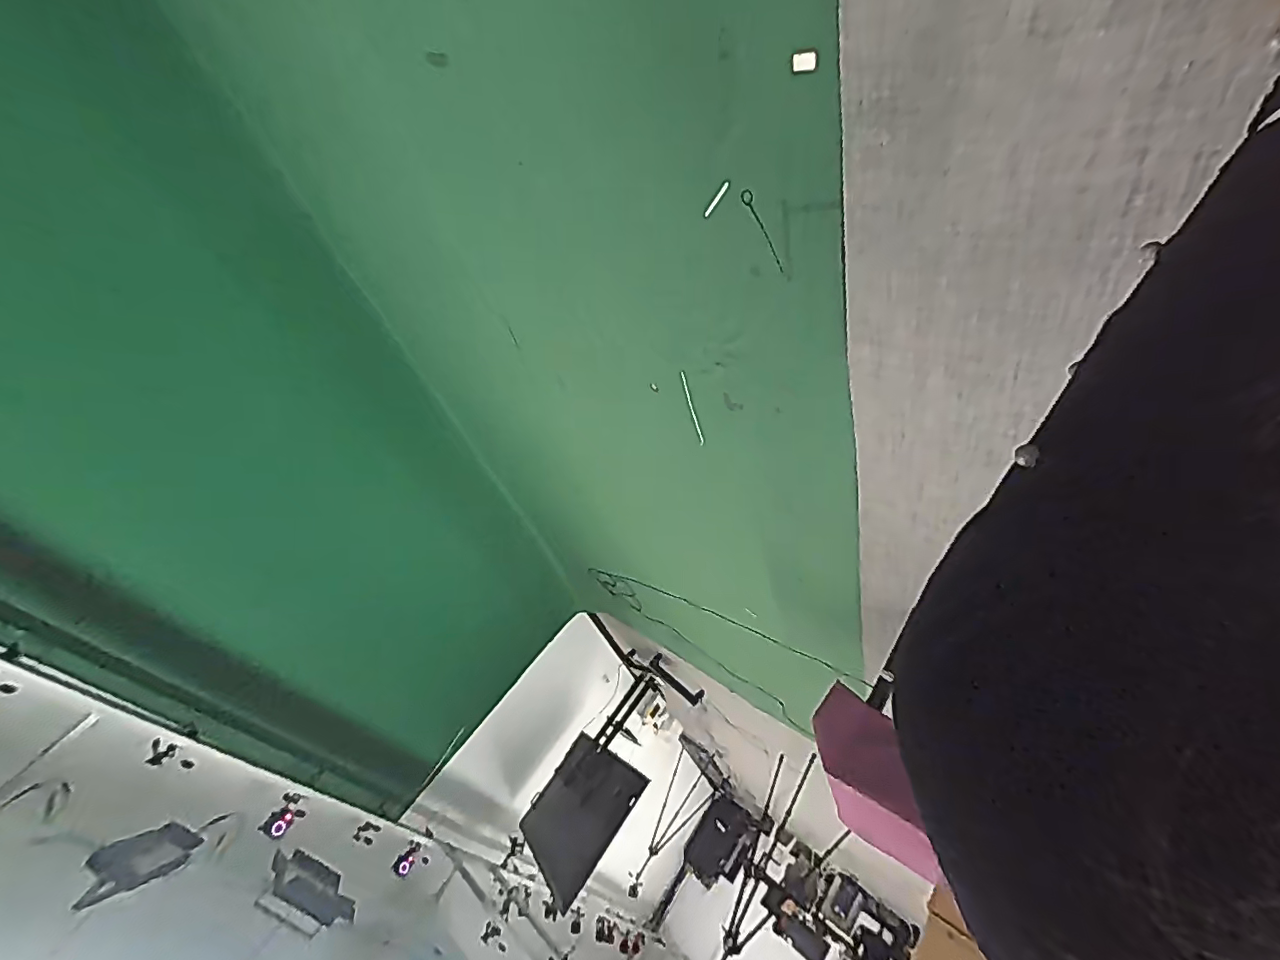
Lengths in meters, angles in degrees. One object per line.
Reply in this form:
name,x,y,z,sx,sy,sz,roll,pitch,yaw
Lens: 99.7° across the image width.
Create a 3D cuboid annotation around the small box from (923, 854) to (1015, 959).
small box,0.940,1.212,1.550,0.179,0.176,0.168,20,148,38
